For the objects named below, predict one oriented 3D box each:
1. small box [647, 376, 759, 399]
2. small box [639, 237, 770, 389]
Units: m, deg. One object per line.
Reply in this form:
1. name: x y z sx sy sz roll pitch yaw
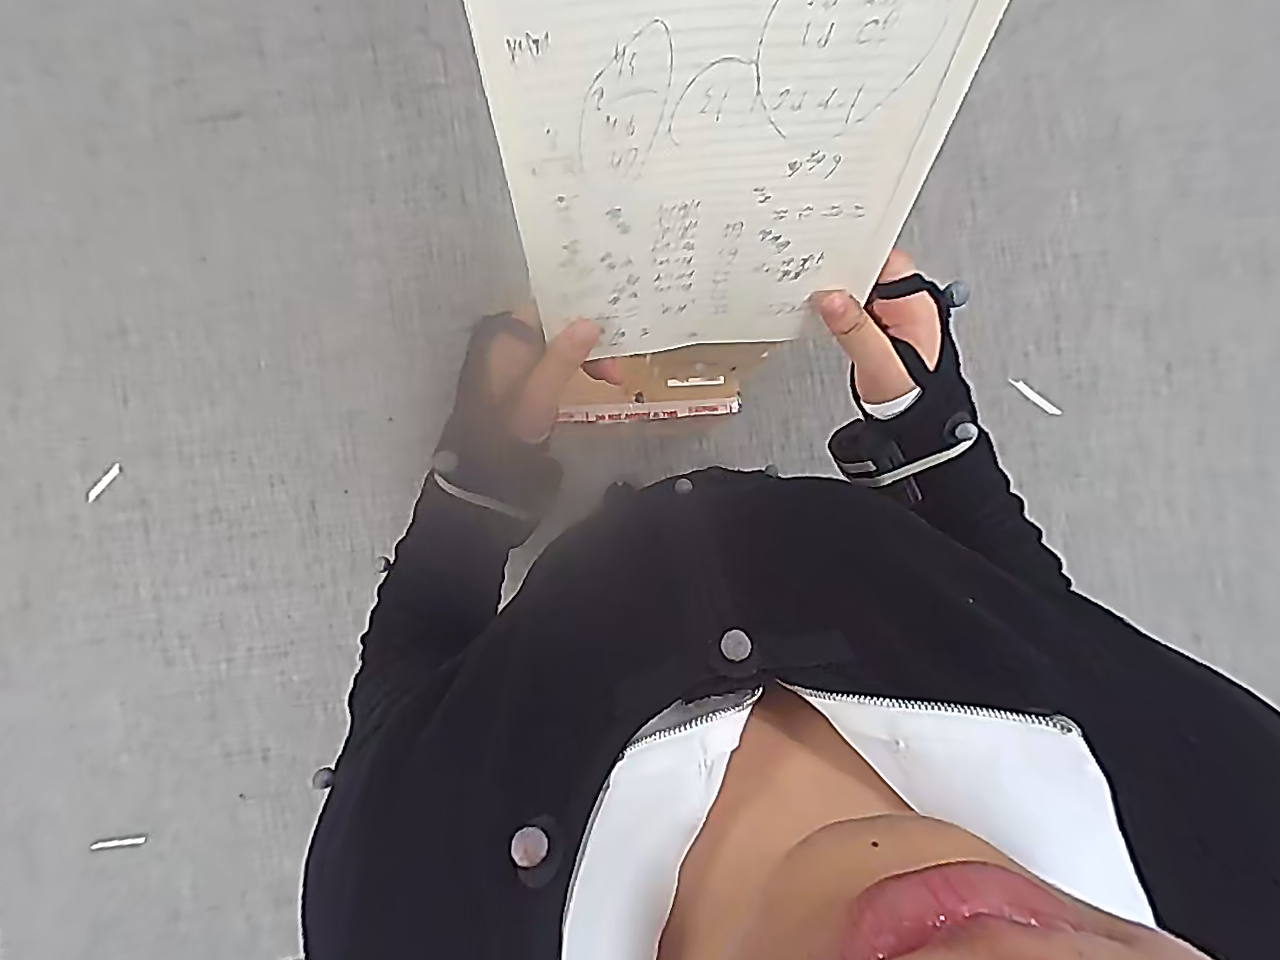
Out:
1. small box: 0.099 -0.240 0.952 0.179 0.176 0.168 -5 91 -1
2. small box: 0.085 -0.232 0.787 0.168 0.176 0.179 -1 92 -2
